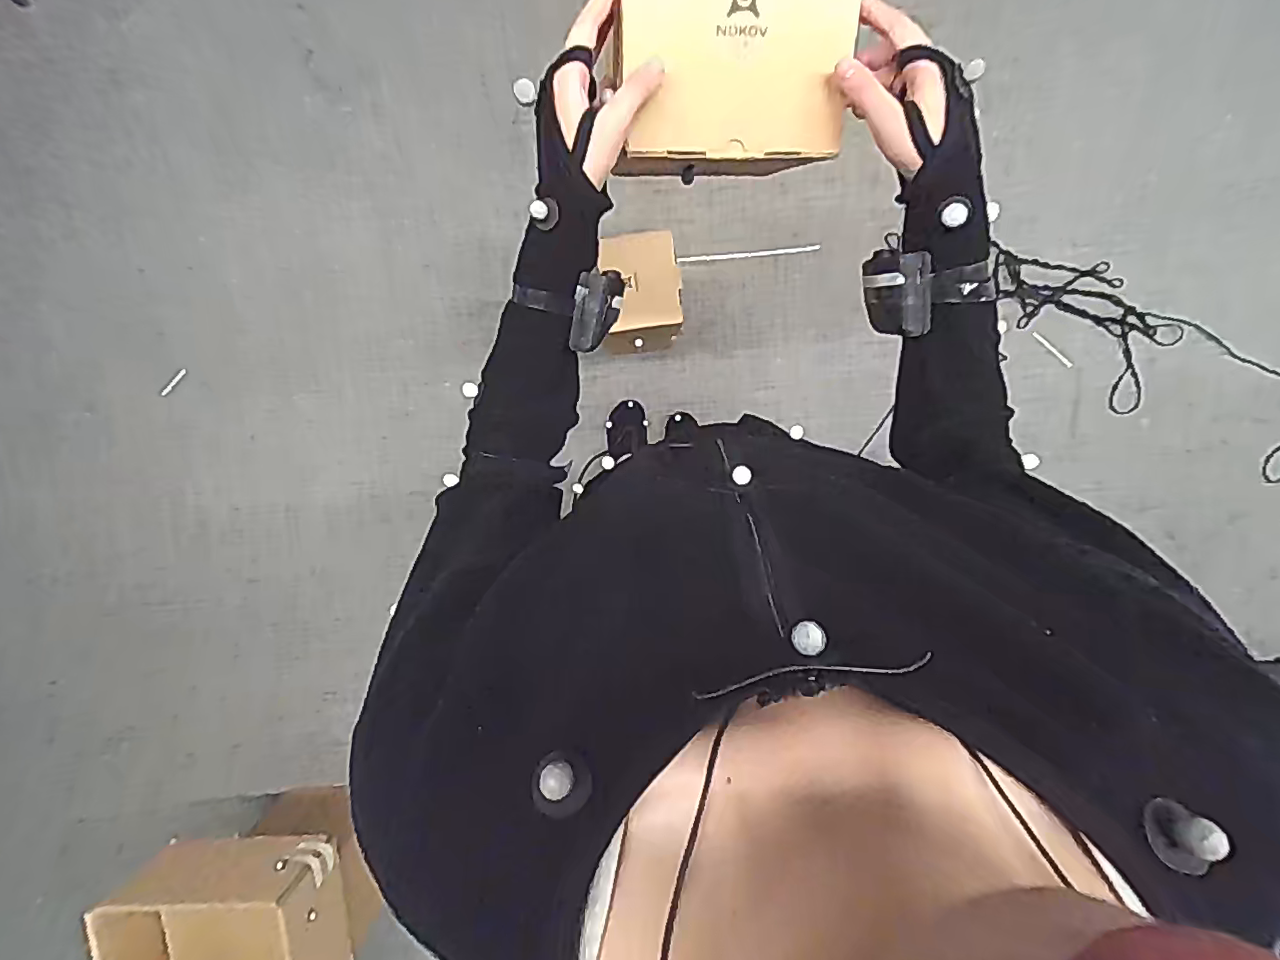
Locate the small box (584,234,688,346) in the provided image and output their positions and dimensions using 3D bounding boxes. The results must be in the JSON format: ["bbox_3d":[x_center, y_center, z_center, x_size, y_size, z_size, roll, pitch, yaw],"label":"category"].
[{"bbox_3d":[-0.007,-0.362,1.055,0.179,0.176,0.168,-7,96,2],"label":"small box"}]

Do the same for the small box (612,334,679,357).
[{"bbox_3d":[0.006,-0.412,1.379,0.179,0.176,0.168,-5,96,2],"label":"small box"}]
